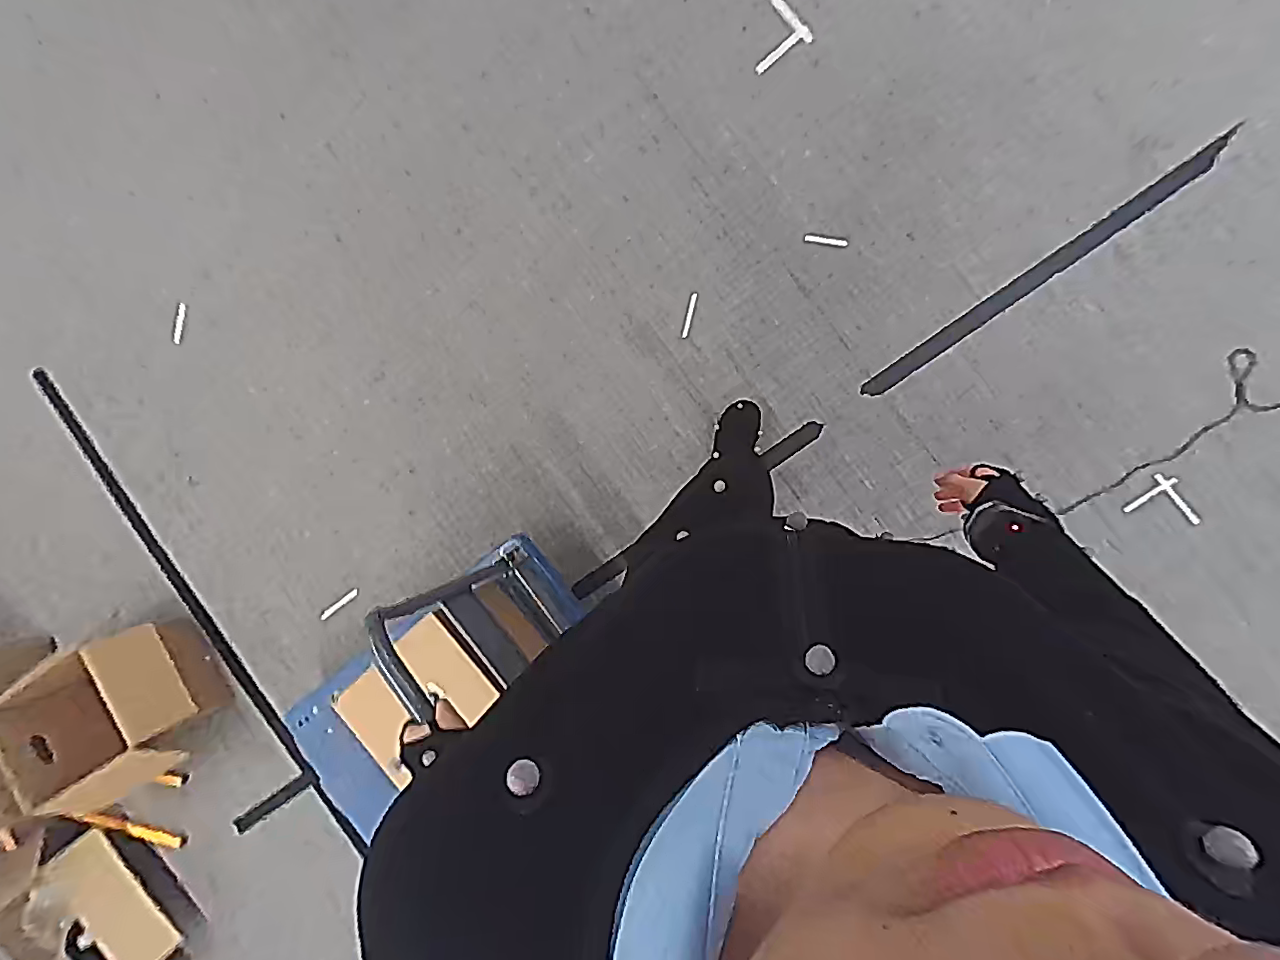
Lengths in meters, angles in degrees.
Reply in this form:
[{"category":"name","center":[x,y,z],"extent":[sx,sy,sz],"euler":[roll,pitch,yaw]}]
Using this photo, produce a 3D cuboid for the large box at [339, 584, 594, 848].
[{"category":"large box","center":[-0.373,0.514,1.255],"extent":[0.320,0.320,0.408],"euler":[-42,86,7]}]
